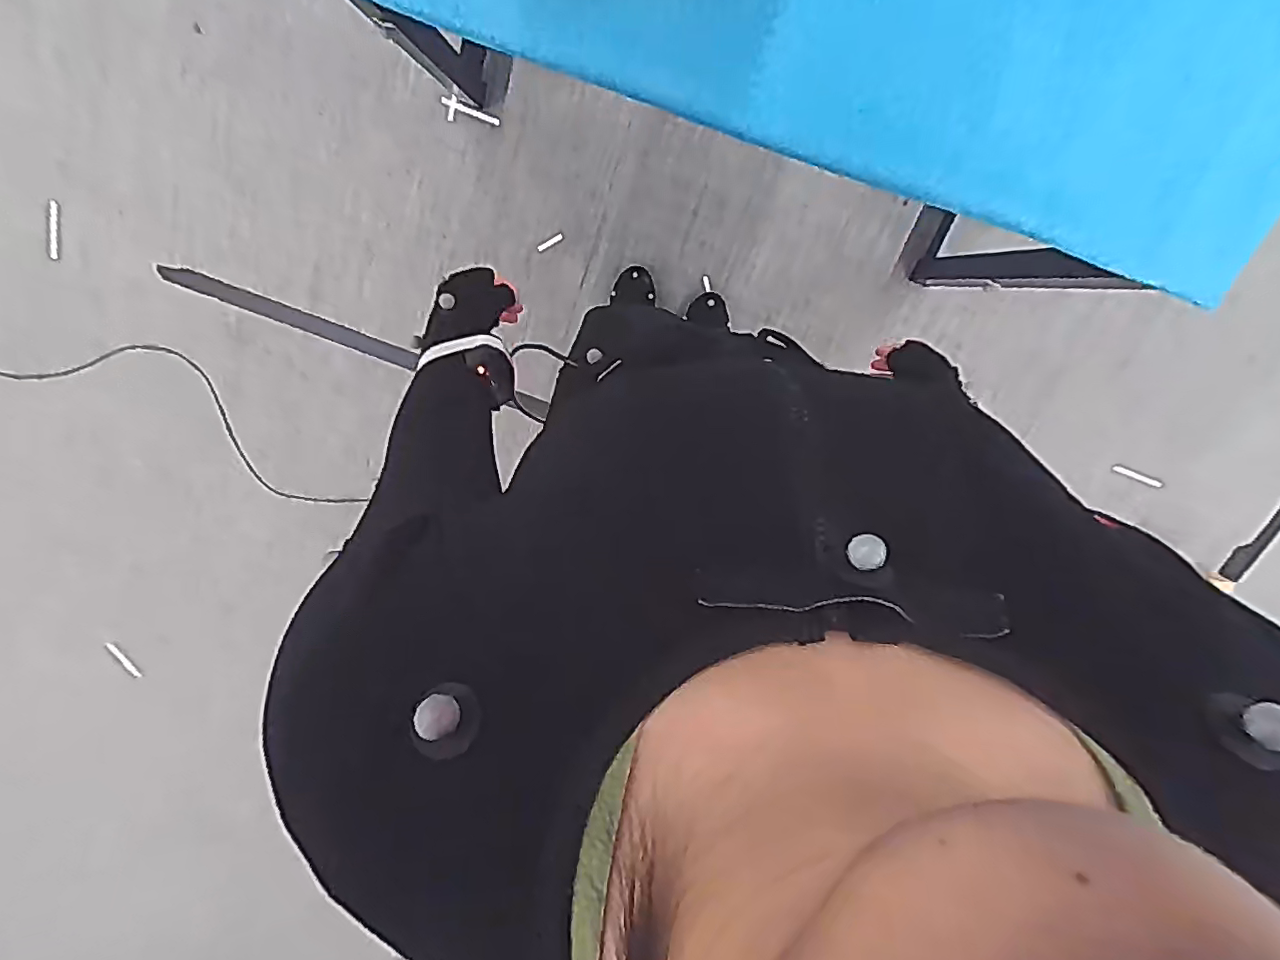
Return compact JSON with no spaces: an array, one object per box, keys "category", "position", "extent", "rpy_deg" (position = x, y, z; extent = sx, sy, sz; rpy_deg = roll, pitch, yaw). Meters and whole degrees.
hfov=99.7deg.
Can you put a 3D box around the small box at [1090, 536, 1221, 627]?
[{"category":"small box","position":[1.442,0.281,1.530],"extent":[0.168,0.176,0.179],"rpy_deg":[15,111,-4]}]
